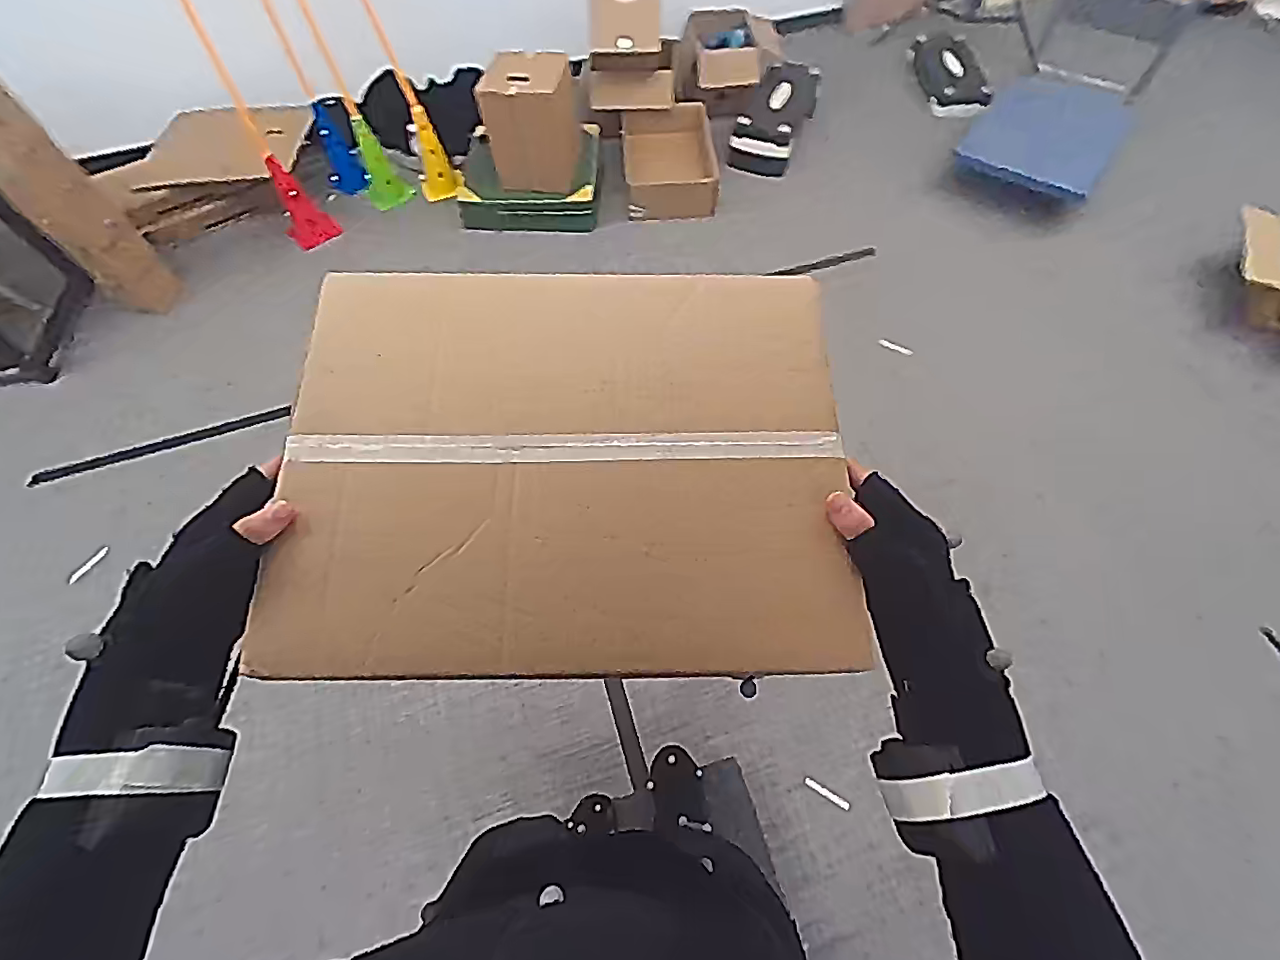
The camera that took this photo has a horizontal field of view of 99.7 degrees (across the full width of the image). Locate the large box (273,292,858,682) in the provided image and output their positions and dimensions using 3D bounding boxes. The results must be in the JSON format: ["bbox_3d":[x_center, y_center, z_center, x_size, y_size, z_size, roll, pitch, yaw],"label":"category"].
[{"bbox_3d":[-0.051,0.033,0.551,0.408,0.320,0.320,0,70,-1],"label":"large box"}]

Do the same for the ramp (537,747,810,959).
[{"bbox_3d":[0.155,1.150,1.113,0.509,0.206,0.991,-18,63,-9],"label":"ramp"}]
